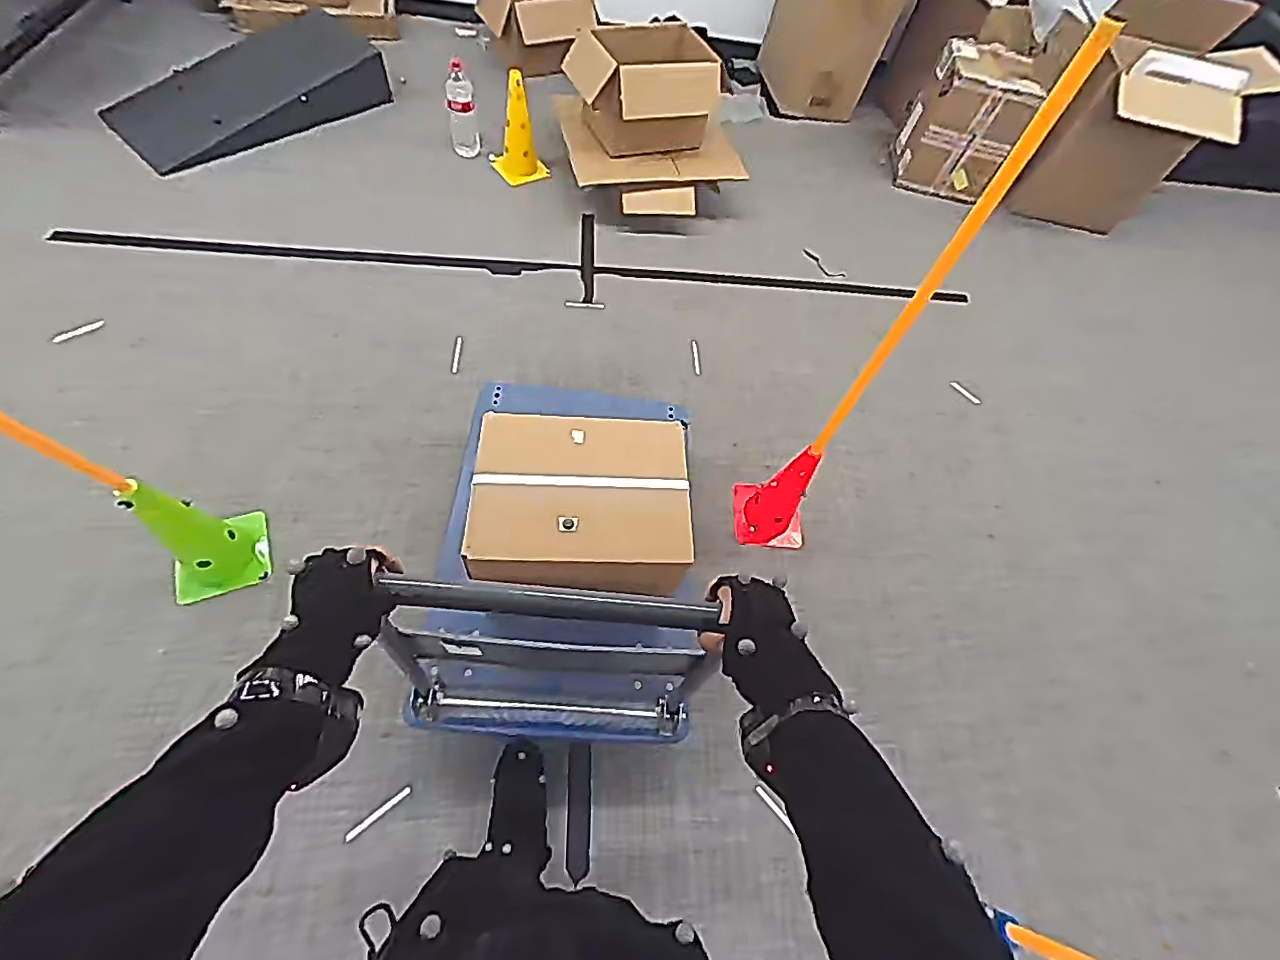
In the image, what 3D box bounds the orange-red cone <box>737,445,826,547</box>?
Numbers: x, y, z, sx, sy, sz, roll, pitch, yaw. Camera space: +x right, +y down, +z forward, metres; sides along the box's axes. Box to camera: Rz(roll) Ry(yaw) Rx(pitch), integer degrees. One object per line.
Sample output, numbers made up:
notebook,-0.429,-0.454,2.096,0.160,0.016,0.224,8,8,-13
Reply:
orange-red cone,0.407,0.015,1.446,0.199,0.360,0.198,7,60,-6
